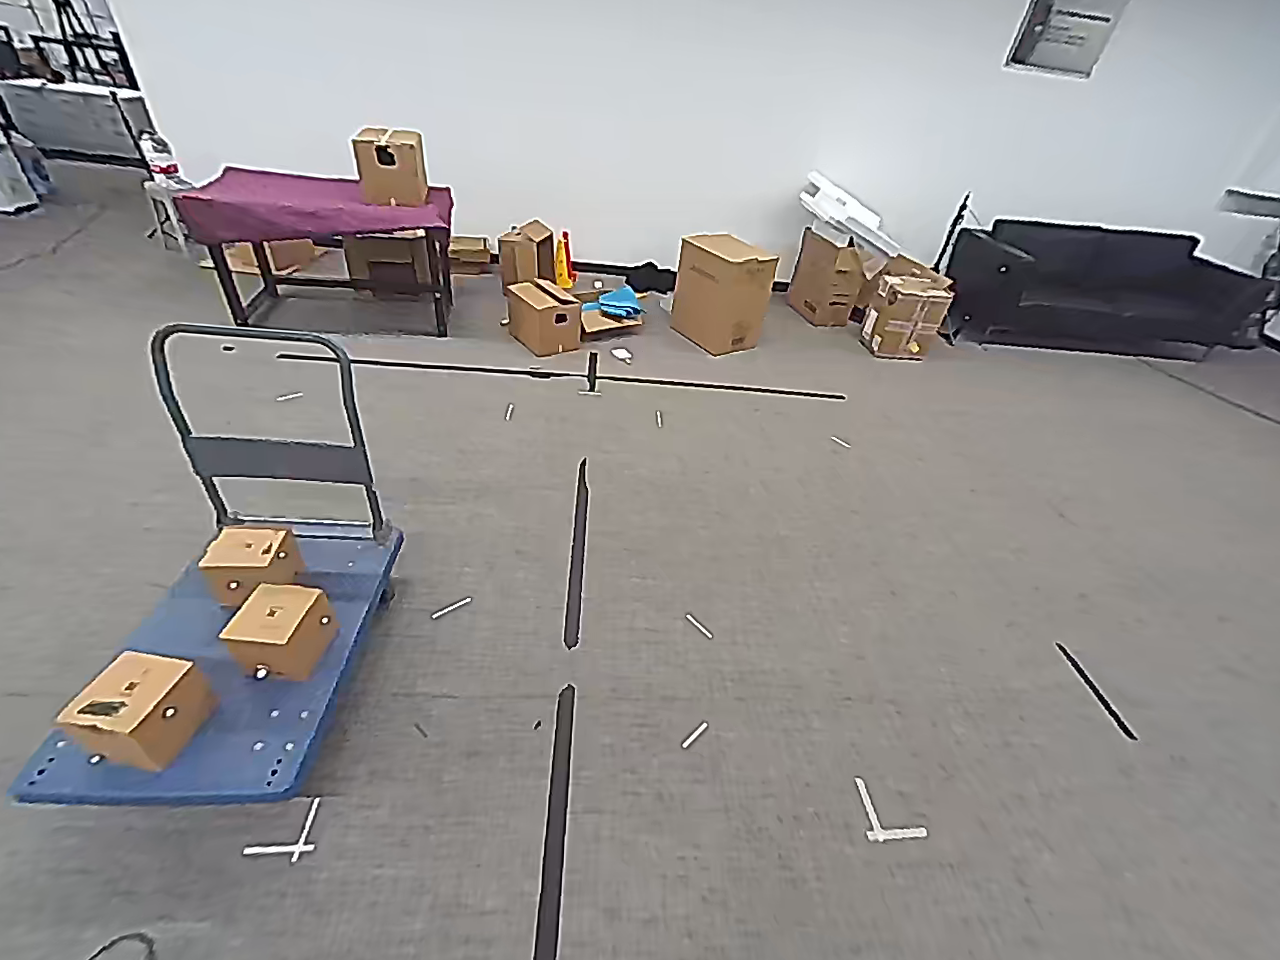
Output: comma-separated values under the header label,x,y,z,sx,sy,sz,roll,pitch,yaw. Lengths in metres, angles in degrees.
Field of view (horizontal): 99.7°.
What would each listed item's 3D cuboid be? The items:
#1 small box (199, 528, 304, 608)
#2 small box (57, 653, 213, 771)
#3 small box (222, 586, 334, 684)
label,x,y,z,sx,sy,sz,roll,pitch,yaw
small box,-1.124,0.259,1.583,0.179,0.176,0.168,0,39,-9
small box,-1.127,0.529,1.229,0.168,0.176,0.179,10,36,2
small box,-0.939,0.408,1.426,0.168,0.176,0.179,6,39,0
